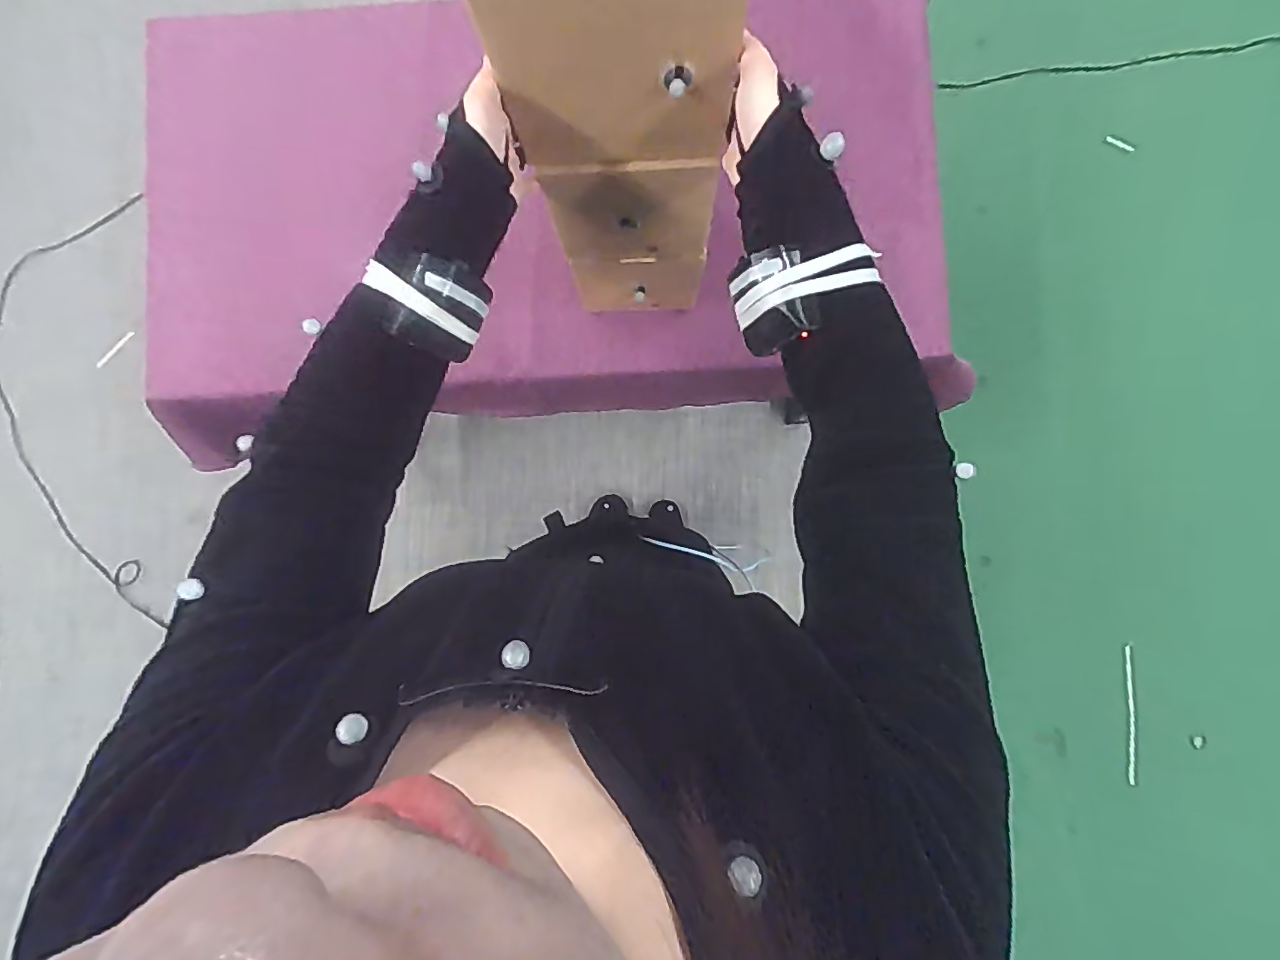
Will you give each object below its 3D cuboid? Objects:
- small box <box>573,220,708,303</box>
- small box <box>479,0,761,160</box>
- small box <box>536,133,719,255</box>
[{"bbox_3d":[0.003,-0.348,0.728,0.168,0.176,0.179,-1,88,1],"label":"small box"},{"bbox_3d":[-0.012,-0.367,0.400,0.179,0.176,0.168,-1,86,2],"label":"small box"},{"bbox_3d":[-0.008,-0.352,0.561,0.168,0.176,0.179,1,86,0],"label":"small box"}]
